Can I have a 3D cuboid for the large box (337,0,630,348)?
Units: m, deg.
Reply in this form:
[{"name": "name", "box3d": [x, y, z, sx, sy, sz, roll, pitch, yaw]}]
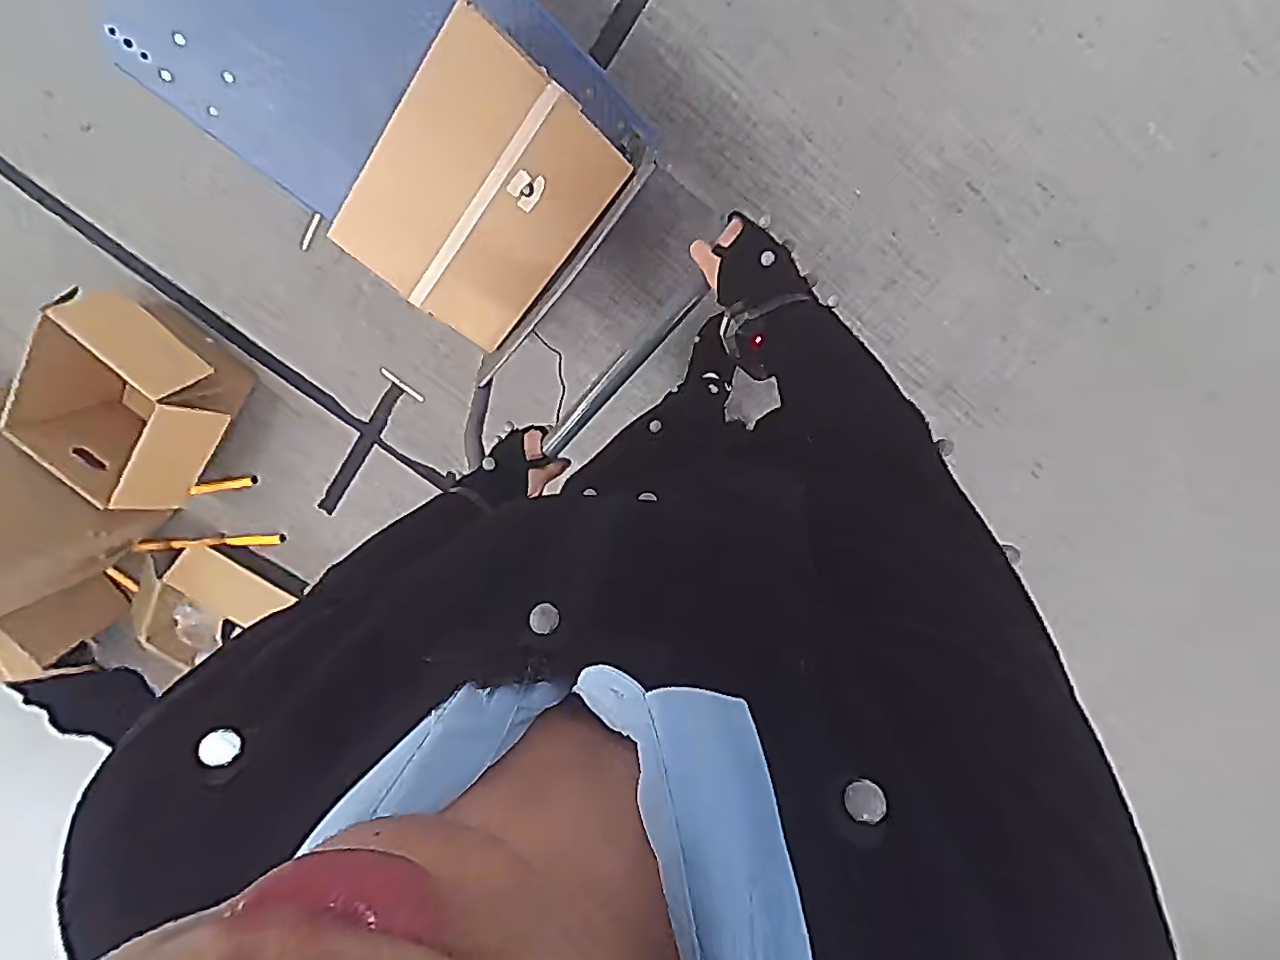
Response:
[{"name": "large box", "box3d": [-0.269, -0.530, 0.994, 0.320, 0.320, 0.408, 34, 113, -26]}]
